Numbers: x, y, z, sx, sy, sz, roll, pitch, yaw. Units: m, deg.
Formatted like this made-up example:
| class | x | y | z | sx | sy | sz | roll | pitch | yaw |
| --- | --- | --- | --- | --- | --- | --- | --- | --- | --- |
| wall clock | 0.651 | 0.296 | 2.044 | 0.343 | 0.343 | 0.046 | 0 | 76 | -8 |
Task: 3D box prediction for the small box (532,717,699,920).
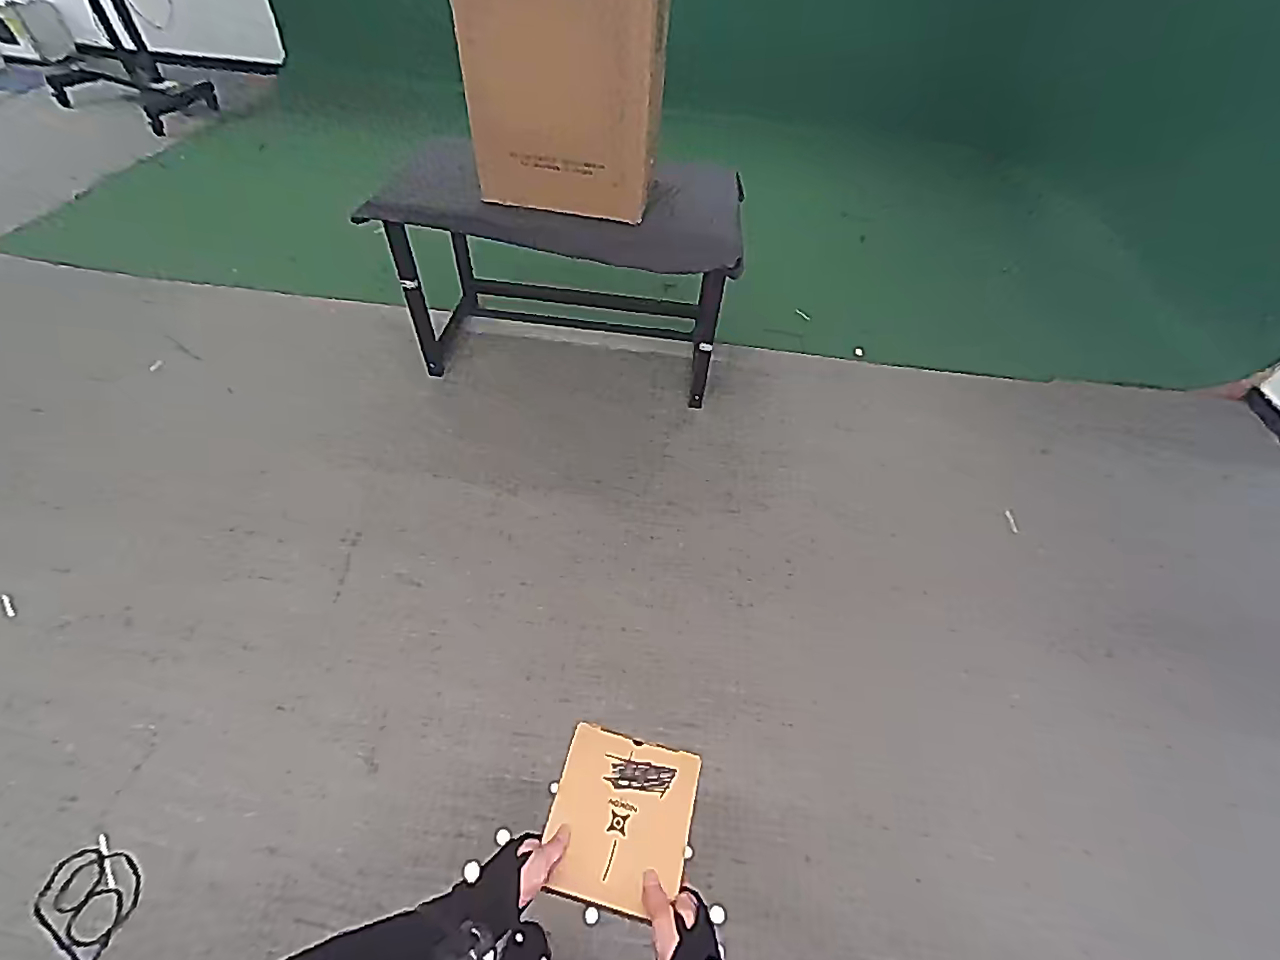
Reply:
| class | x | y | z | sx | sy | sz | roll | pitch | yaw |
| --- | --- | --- | --- | --- | --- | --- | --- | --- | --- |
| small box | -0.030 | 0.441 | 0.704 | 0.168 | 0.176 | 0.179 | 13 | 51 | 6 |
